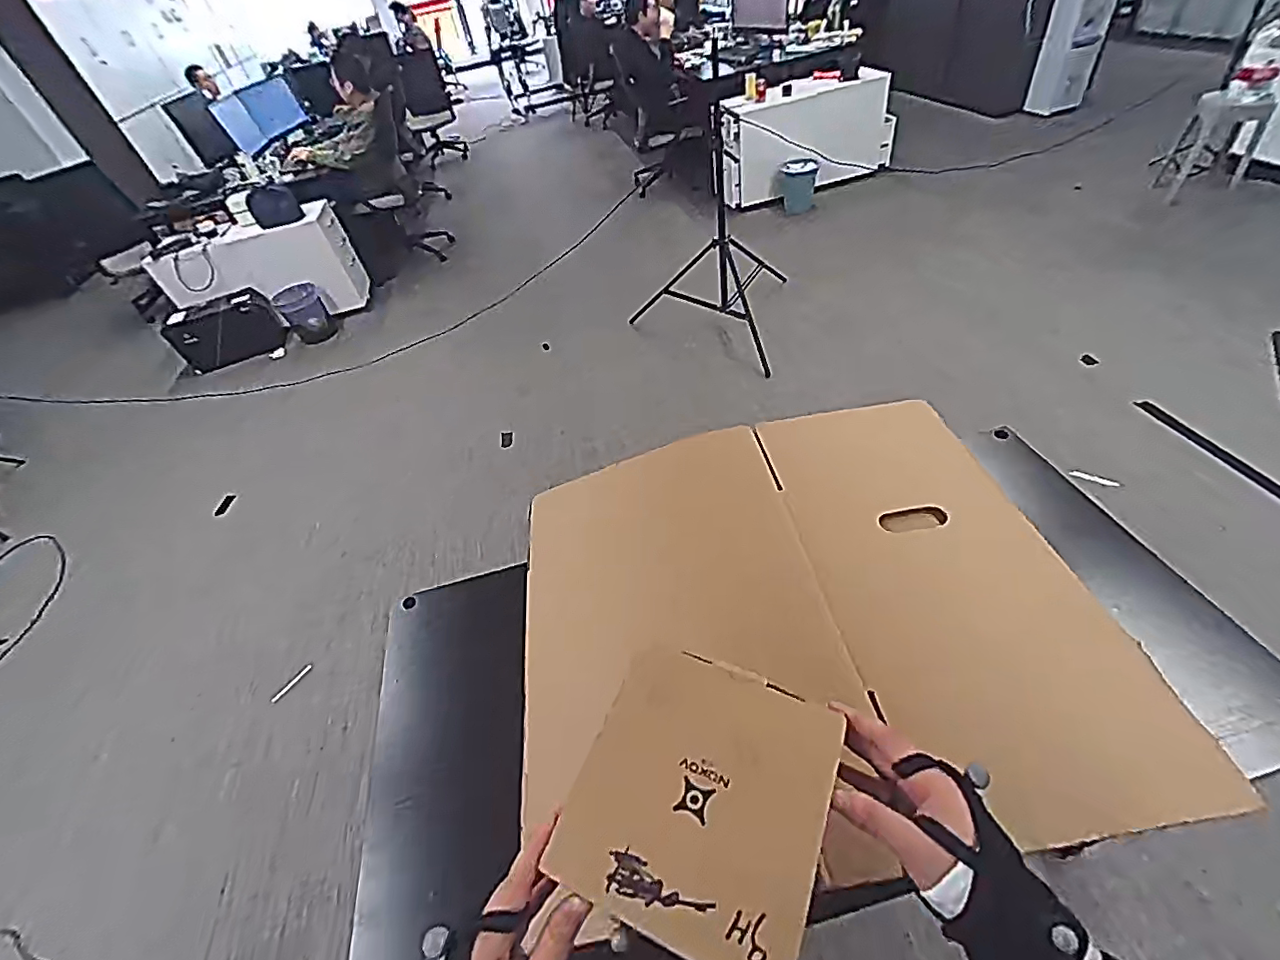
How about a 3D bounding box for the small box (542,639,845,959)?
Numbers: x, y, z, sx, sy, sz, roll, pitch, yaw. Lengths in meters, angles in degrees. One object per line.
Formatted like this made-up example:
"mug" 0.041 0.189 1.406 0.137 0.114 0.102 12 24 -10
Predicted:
"small box" 0.051 0.267 0.432 0.168 0.176 0.179 14 50 23
